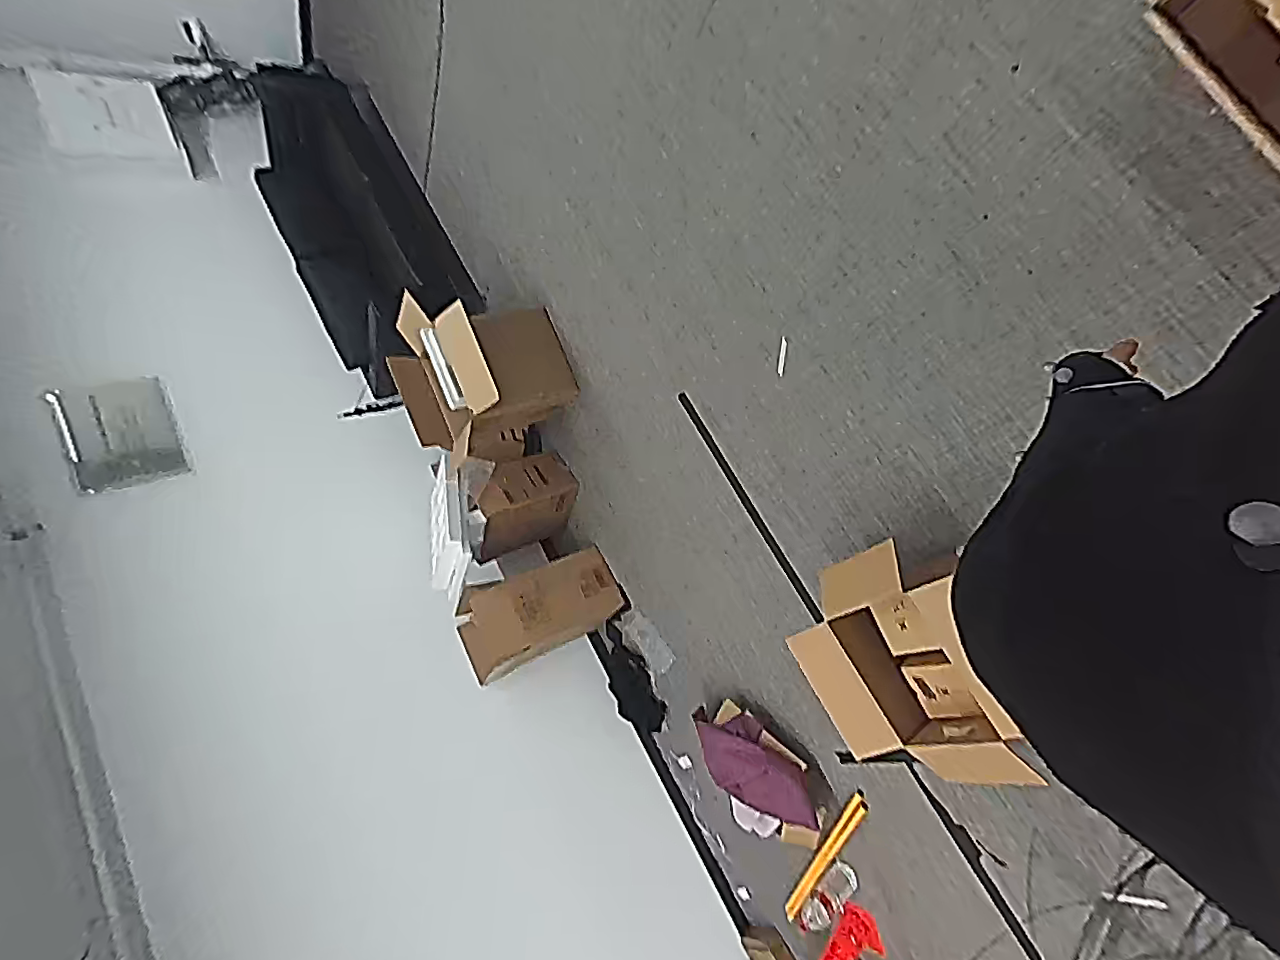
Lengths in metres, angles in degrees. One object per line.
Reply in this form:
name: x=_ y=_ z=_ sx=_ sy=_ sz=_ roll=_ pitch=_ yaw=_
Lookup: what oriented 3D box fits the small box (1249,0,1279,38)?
small box: x=0.995 y=-0.707 z=0.742 sx=0.168 sy=0.176 sz=0.179 roll=60 pitch=143 yaw=9
